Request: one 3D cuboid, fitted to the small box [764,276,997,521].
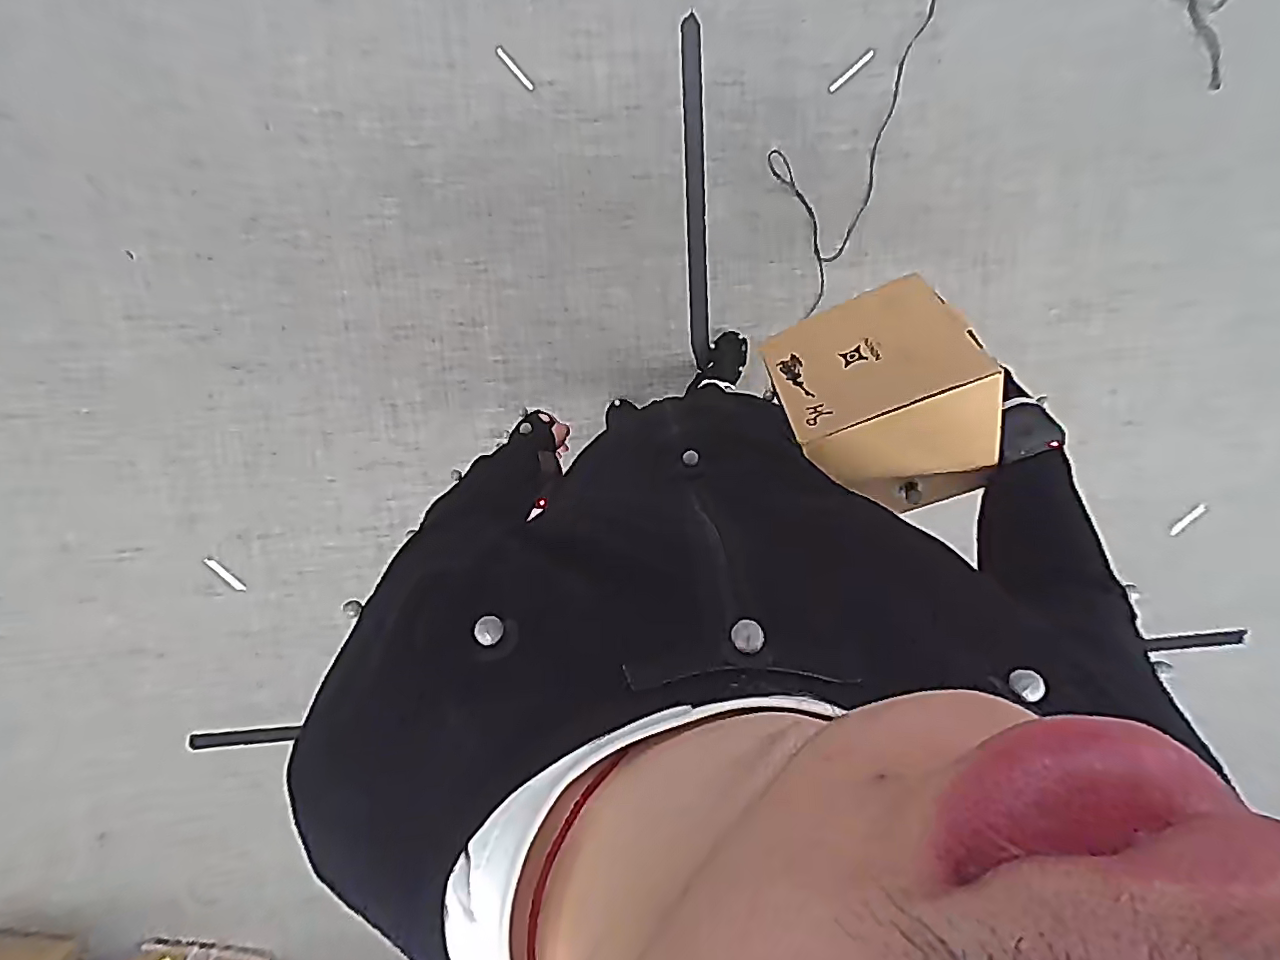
[{"bbox_3d":[0.258,-0.082,0.598,0.179,0.168,0.176,-21,136,15],"label":"small box"}]
